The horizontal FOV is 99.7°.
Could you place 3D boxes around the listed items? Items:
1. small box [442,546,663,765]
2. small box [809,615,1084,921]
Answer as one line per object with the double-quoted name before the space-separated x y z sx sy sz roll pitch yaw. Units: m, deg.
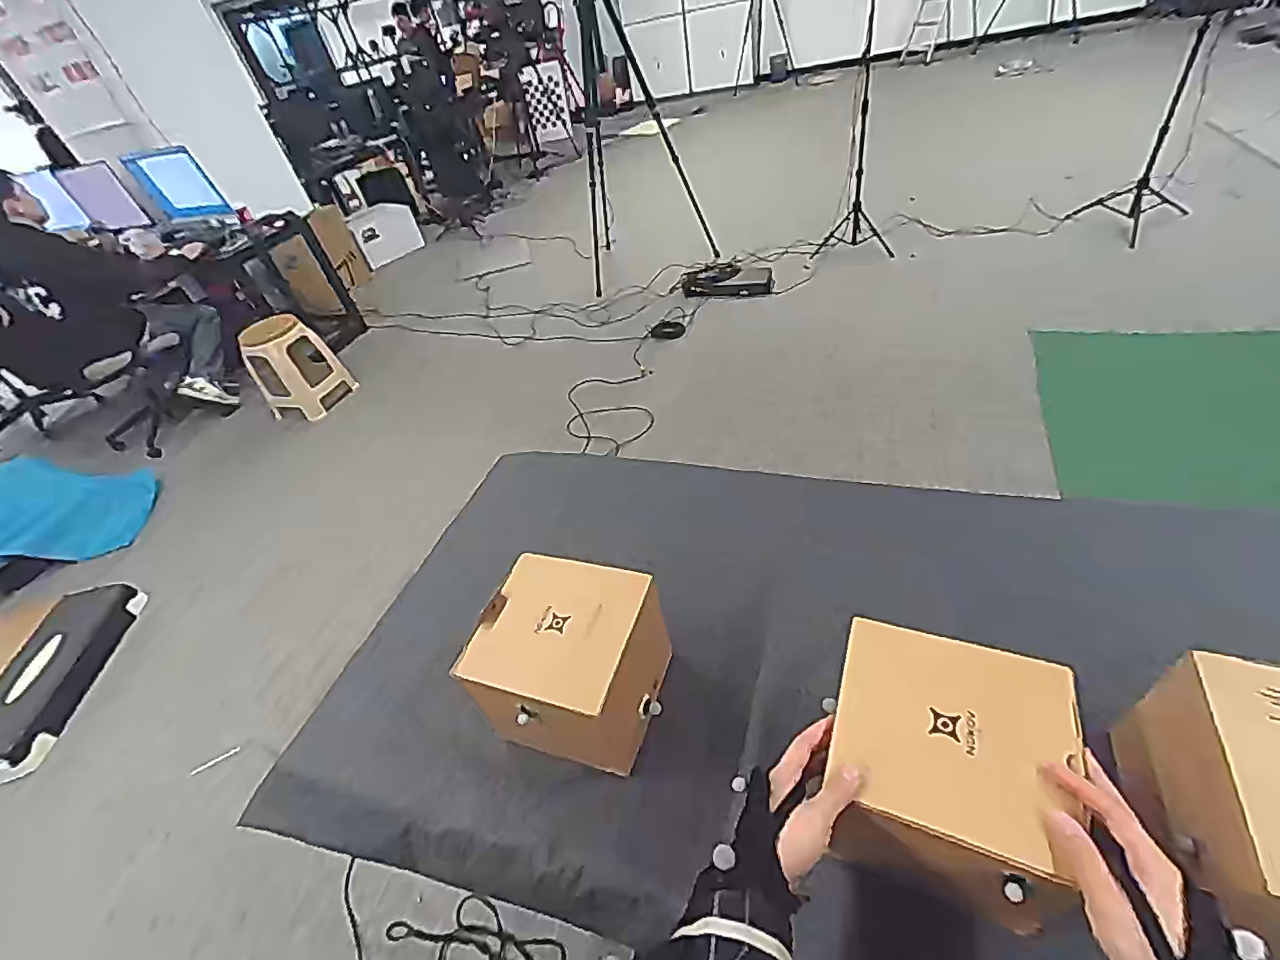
"small box" -0.085 0.203 0.629 0.179 0.176 0.168 7 47 20
"small box" 0.256 0.255 0.487 0.179 0.176 0.168 11 47 24
